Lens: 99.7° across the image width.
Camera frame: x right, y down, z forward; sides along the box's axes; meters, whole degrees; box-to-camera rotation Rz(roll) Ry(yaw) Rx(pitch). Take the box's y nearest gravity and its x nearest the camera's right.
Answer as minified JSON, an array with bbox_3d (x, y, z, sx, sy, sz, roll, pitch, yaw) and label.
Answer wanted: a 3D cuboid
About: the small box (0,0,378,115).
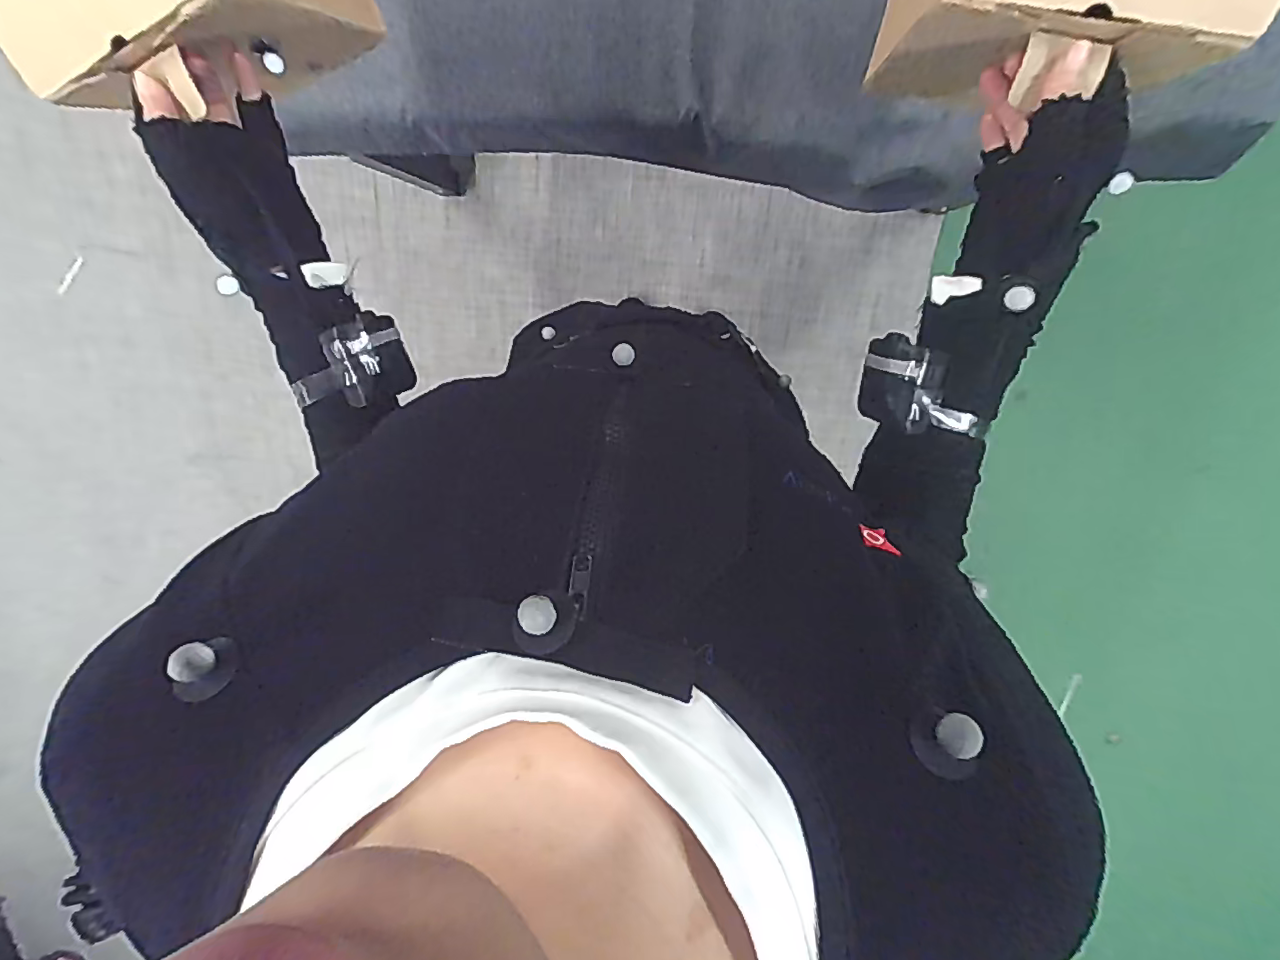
[{"bbox_3d":[-0.312,-0.359,0.345,0.168,0.176,0.179,-11,116,19],"label":"small box"}]

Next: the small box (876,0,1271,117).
[{"bbox_3d":[0.264,-0.346,0.328,0.168,0.176,0.179,12,114,3],"label":"small box"}]
